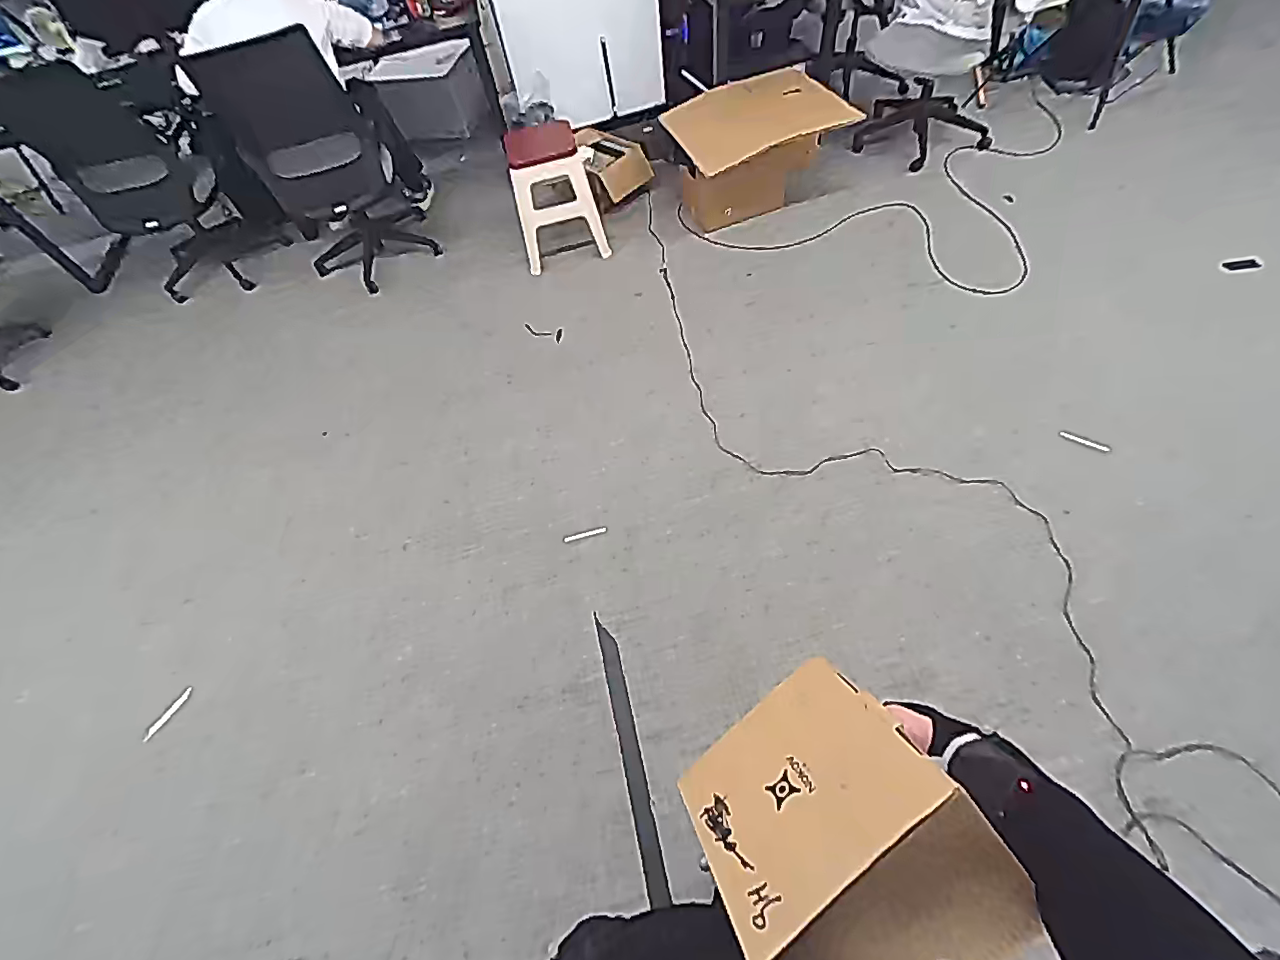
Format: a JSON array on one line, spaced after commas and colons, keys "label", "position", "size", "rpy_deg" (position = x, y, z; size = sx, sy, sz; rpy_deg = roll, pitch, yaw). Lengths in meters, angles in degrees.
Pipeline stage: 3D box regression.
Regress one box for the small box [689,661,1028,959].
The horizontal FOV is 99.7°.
[{"label": "small box", "position": [0.176, 0.298, 0.449], "size": [0.179, 0.176, 0.168], "rpy_deg": [-41, 17, -2]}]
